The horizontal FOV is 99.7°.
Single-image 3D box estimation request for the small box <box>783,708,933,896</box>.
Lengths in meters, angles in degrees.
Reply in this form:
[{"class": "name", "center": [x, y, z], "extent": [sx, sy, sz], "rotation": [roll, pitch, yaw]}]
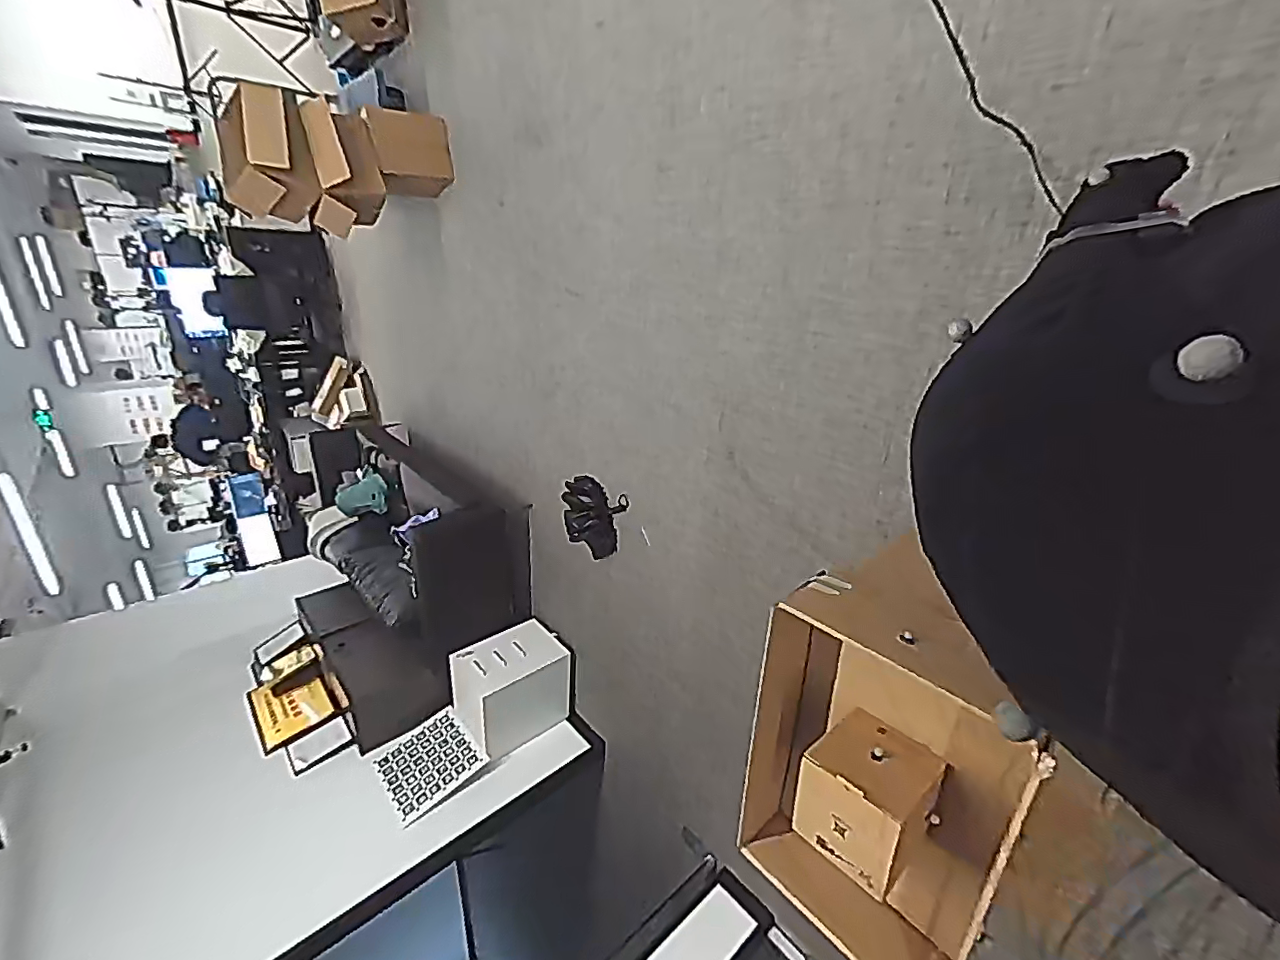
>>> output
[{"class": "small box", "center": [0.369, 0.528, 0.915], "extent": [0.168, 0.176, 0.179], "rotation": [24, 120, 44]}]
